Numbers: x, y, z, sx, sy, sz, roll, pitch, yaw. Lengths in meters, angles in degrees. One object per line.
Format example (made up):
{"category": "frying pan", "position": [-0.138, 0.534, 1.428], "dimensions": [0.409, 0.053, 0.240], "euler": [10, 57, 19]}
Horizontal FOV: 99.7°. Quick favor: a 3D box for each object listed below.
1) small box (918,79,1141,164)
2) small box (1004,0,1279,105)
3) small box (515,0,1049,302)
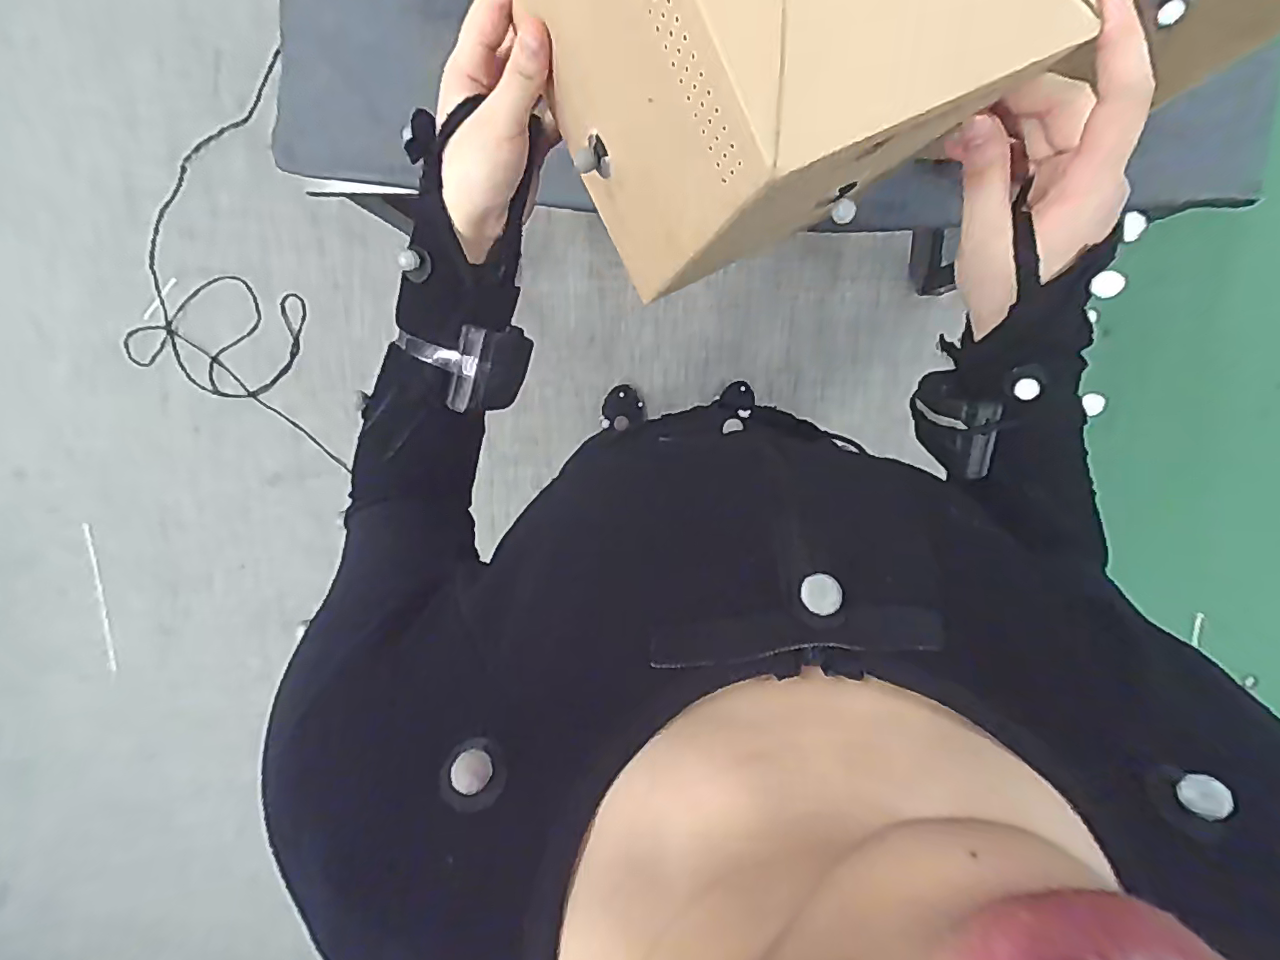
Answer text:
{"category": "small box", "position": [0.416, -0.469, 0.576], "dimensions": [0.168, 0.176, 0.179], "euler": [3, 100, 2]}
{"category": "small box", "position": [0.410, -0.430, 0.418], "dimensions": [0.179, 0.176, 0.168], "euler": [13, 99, 1]}
{"category": "small box", "position": [0.052, -0.220, 0.262], "dimensions": [0.168, 0.176, 0.179], "euler": [-29, 100, -12]}
